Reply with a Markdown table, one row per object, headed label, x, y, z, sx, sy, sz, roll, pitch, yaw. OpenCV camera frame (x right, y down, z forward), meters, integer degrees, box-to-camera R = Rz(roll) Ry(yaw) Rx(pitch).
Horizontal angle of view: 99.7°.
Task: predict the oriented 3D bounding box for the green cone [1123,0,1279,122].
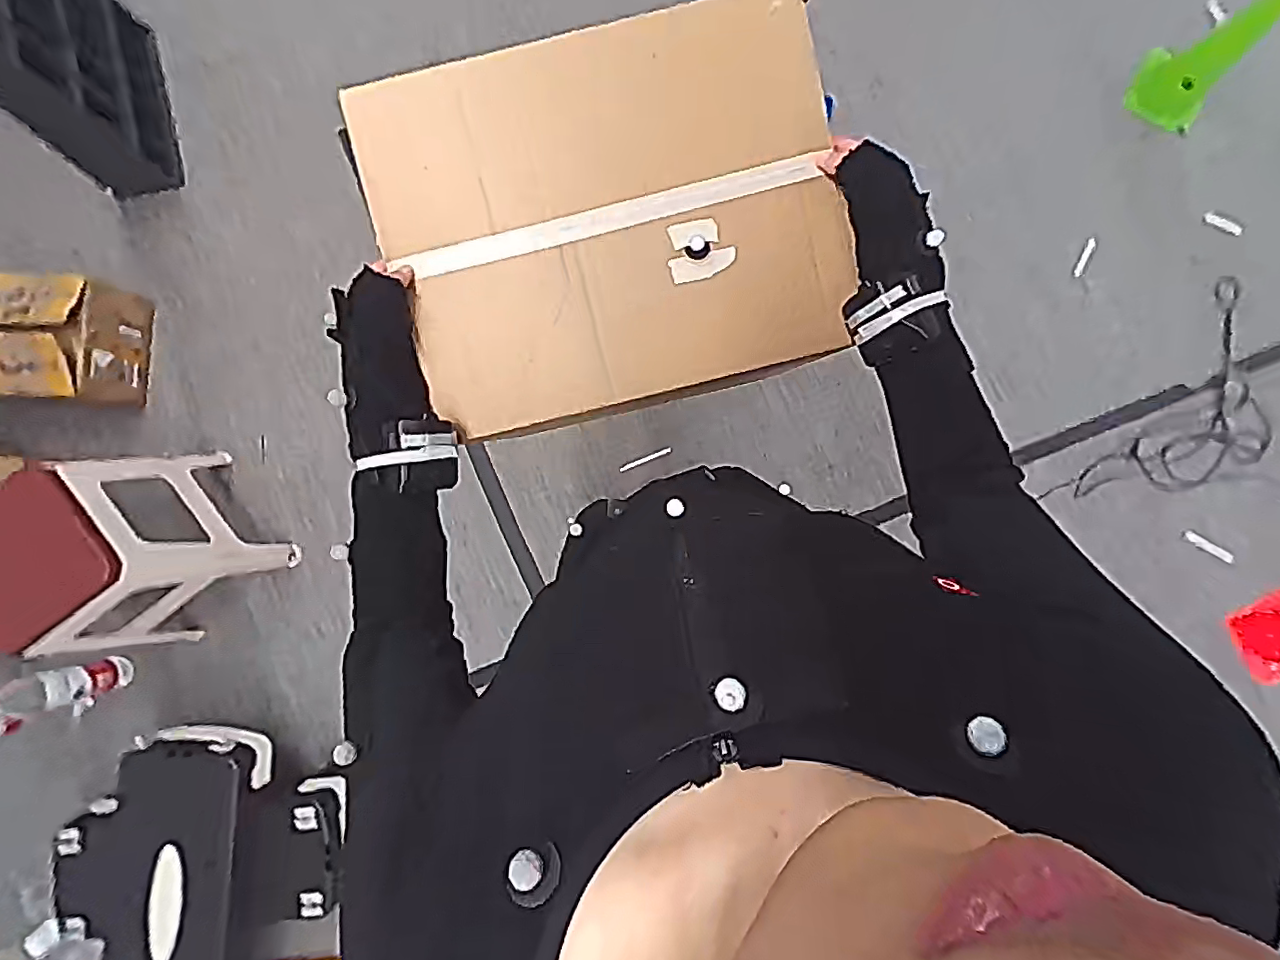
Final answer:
| label | x | y | z | sx | sy | sz | roll | pitch | yaw |
| --- | --- | --- | --- | --- | --- | --- | --- | --- | --- |
| green cone | 1.481 | -1.137 | 1.348 | 0.202 | 0.368 | 0.200 | 29 | 87 | 4 |

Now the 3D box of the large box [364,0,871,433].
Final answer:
| label | x | y | z | sx | sy | sz | roll | pitch | yaw |
| --- | --- | --- | --- | --- | --- | --- | --- | --- | --- |
| large box | -0.019 | -0.249 | 0.628 | 0.408 | 0.320 | 0.320 | -13 | 96 | 0 |

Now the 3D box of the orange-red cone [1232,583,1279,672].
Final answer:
| label | x | y | z | sx | sy | sz | roll | pitch | yaw |
| --- | --- | --- | --- | --- | --- | --- | --- | --- | --- |
| orange-red cone | 1.702 | 0.382 | 1.272 | 0.199 | 0.360 | 0.198 | -26 | 88 | -2 |

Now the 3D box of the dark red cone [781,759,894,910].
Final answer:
| label | x | y | z | sx | sy | sz | roll | pitch | yaw |
| --- | --- | --- | --- | --- | --- | --- | --- | --- | --- |
| dark red cone | 0.482 | 0.831 | 1.243 | 0.202 | 0.394 | 0.201 | -18 | 86 | 0 |
